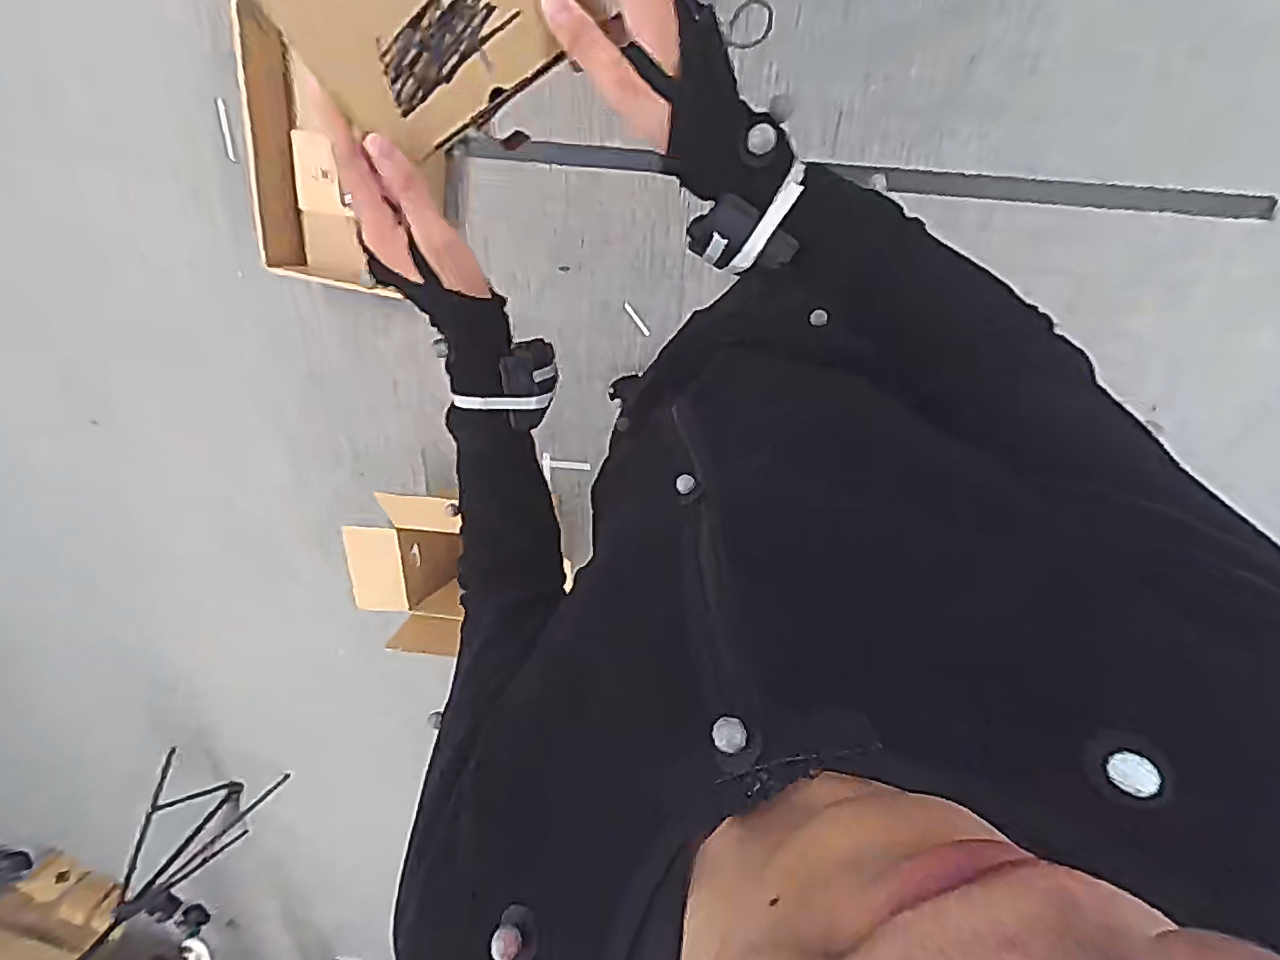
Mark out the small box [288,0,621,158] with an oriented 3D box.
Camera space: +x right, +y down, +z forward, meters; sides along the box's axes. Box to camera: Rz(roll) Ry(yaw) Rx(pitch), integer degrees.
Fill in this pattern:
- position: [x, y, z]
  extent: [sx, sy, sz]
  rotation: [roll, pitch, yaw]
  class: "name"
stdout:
- position: [-0.133, -0.340, 0.339]
  extent: [0.168, 0.176, 0.179]
  rotation: [-31, 125, 8]
  class: "small box"
